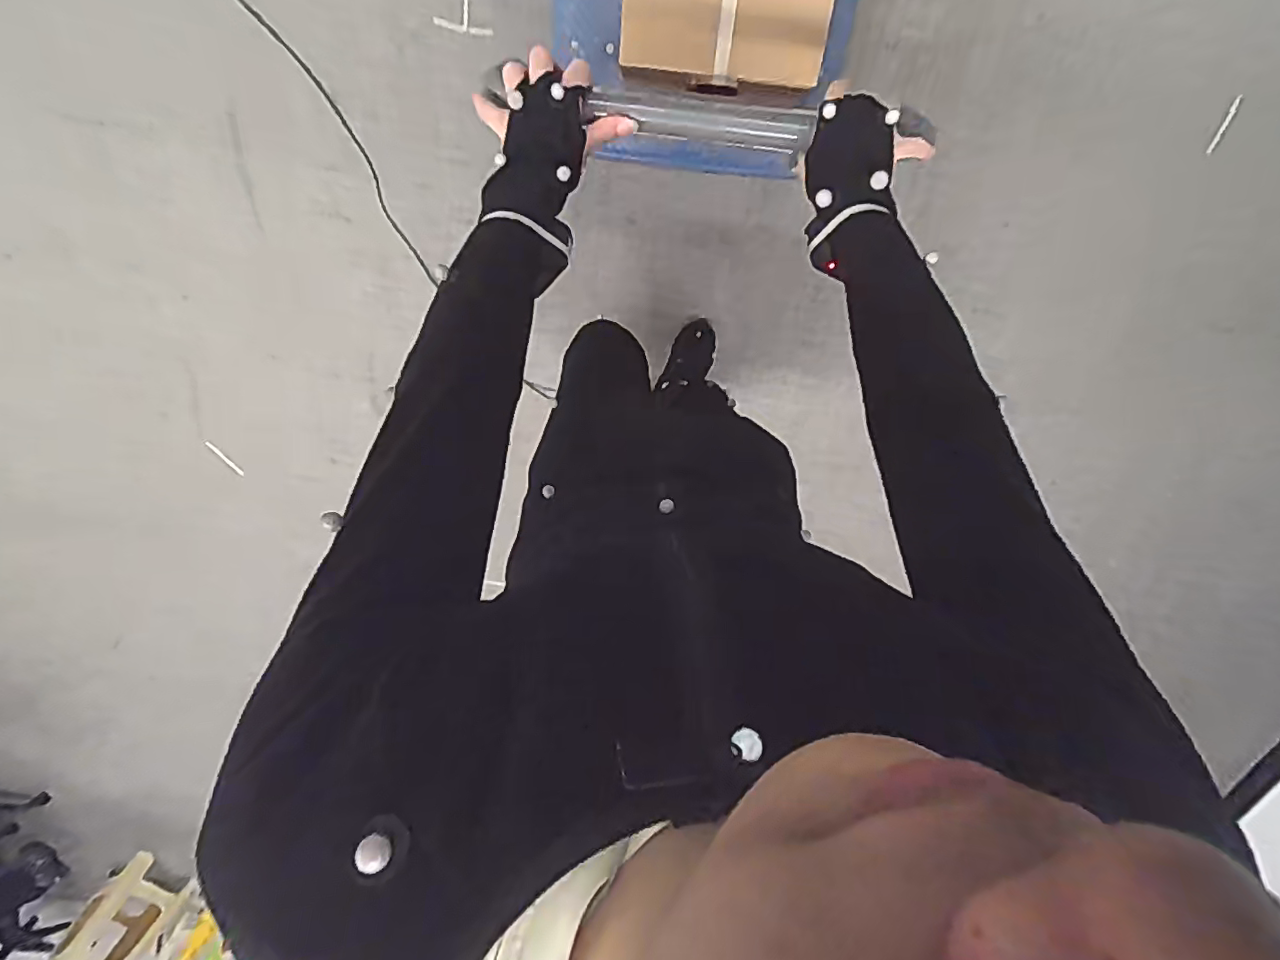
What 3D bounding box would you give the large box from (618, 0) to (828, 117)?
[{"bbox_3d":[0.141,-0.879,0.903,0.320,0.320,0.408,6,114,-1],"label":"large box"}]
